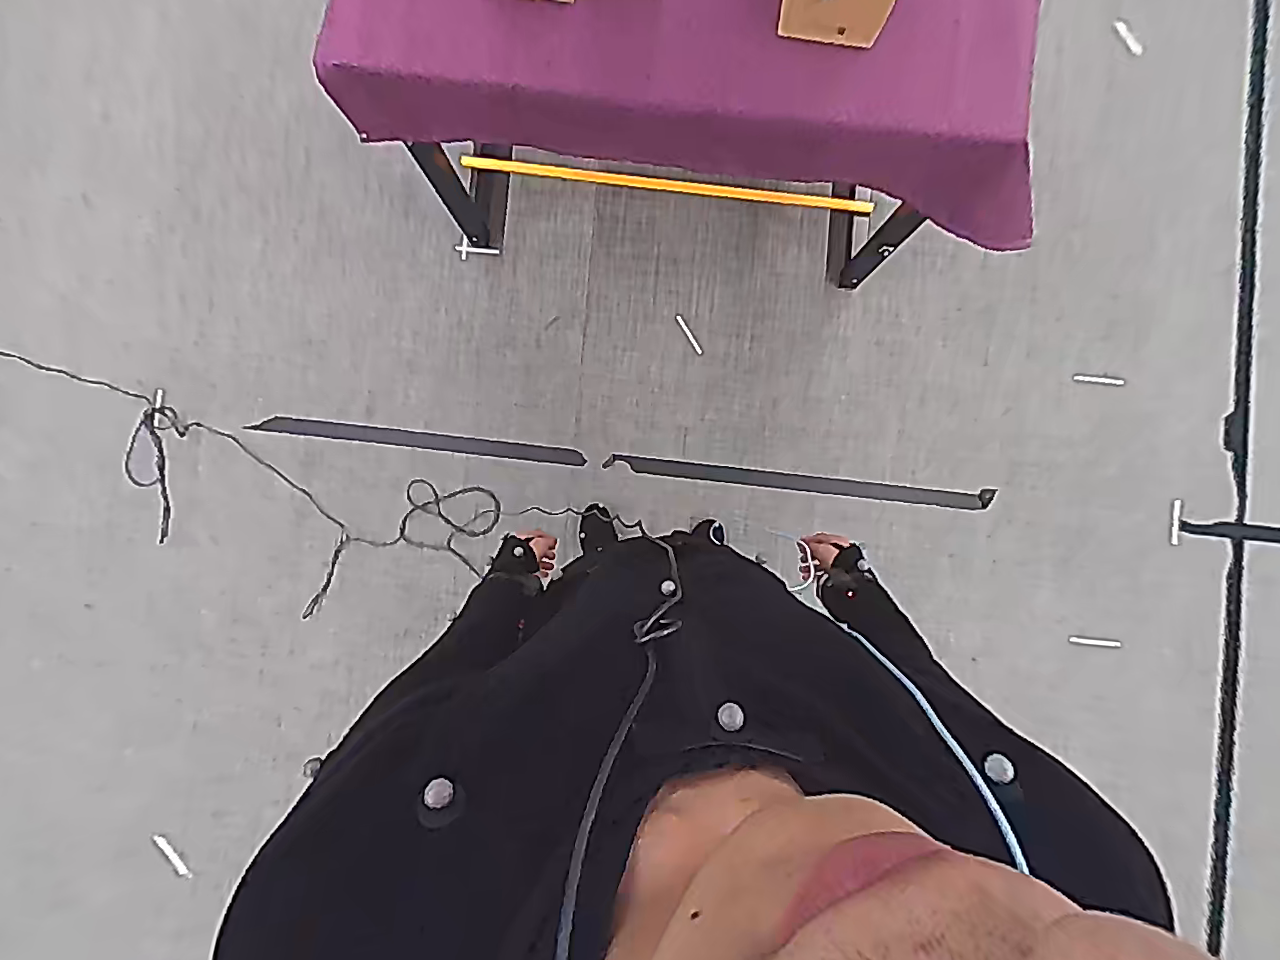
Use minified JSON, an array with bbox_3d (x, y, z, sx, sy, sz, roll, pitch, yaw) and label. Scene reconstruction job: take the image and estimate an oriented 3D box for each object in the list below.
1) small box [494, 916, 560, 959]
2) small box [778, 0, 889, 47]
[{"bbox_3d":[-0.321,1.381,1.530,0.168,0.176,0.179,2,89,-1],"label":"small box"},{"bbox_3d":[0.327,-0.847,0.864,0.168,0.176,0.179,8,88,0],"label":"small box"}]
